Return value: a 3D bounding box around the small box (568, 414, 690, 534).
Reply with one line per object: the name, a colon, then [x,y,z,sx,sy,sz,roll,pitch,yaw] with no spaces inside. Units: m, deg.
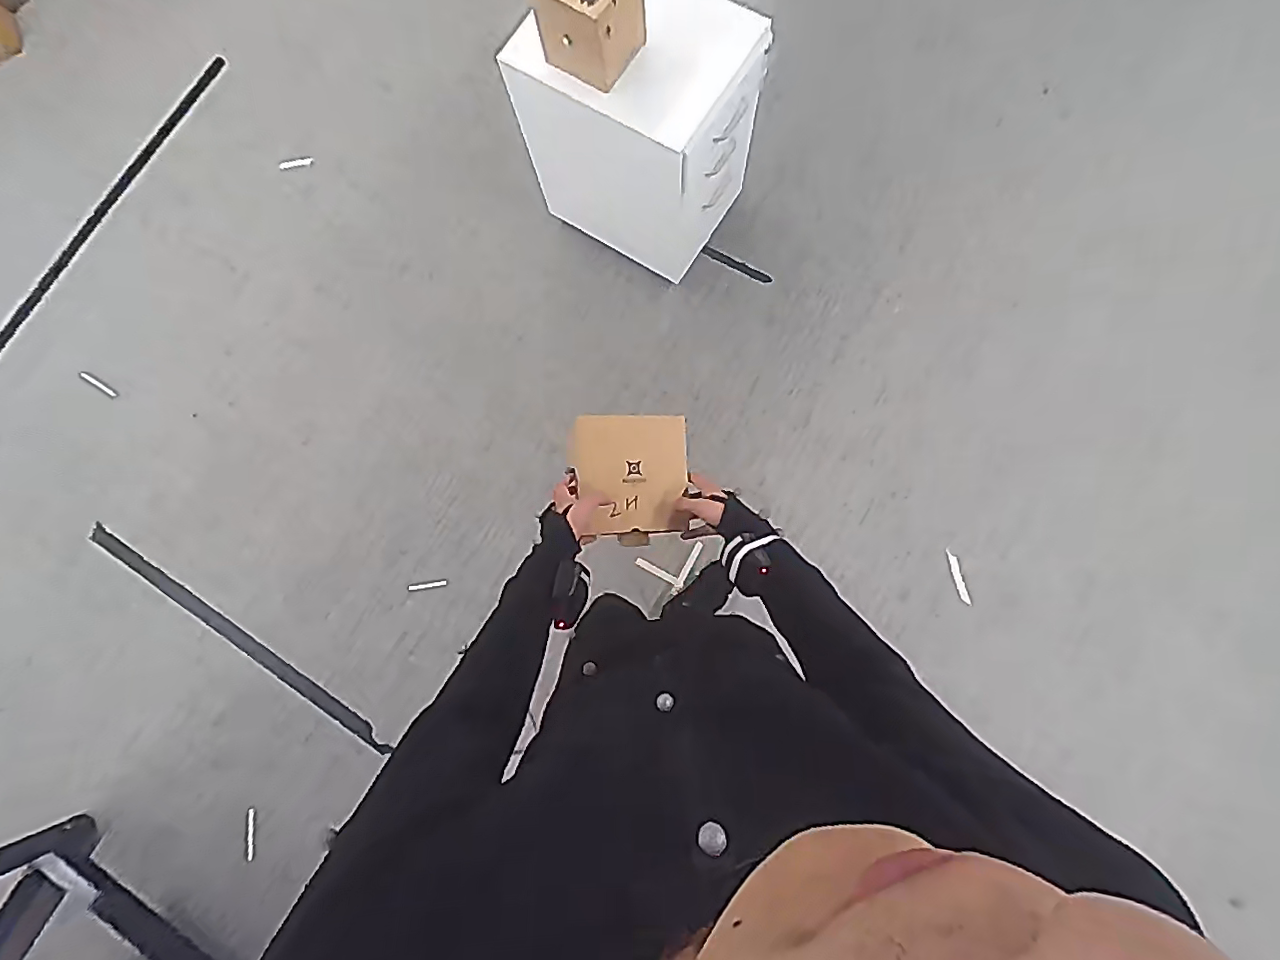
small box: [-0.025,-0.004,0.867,0.168,0.176,0.179,-1,86,-12]
